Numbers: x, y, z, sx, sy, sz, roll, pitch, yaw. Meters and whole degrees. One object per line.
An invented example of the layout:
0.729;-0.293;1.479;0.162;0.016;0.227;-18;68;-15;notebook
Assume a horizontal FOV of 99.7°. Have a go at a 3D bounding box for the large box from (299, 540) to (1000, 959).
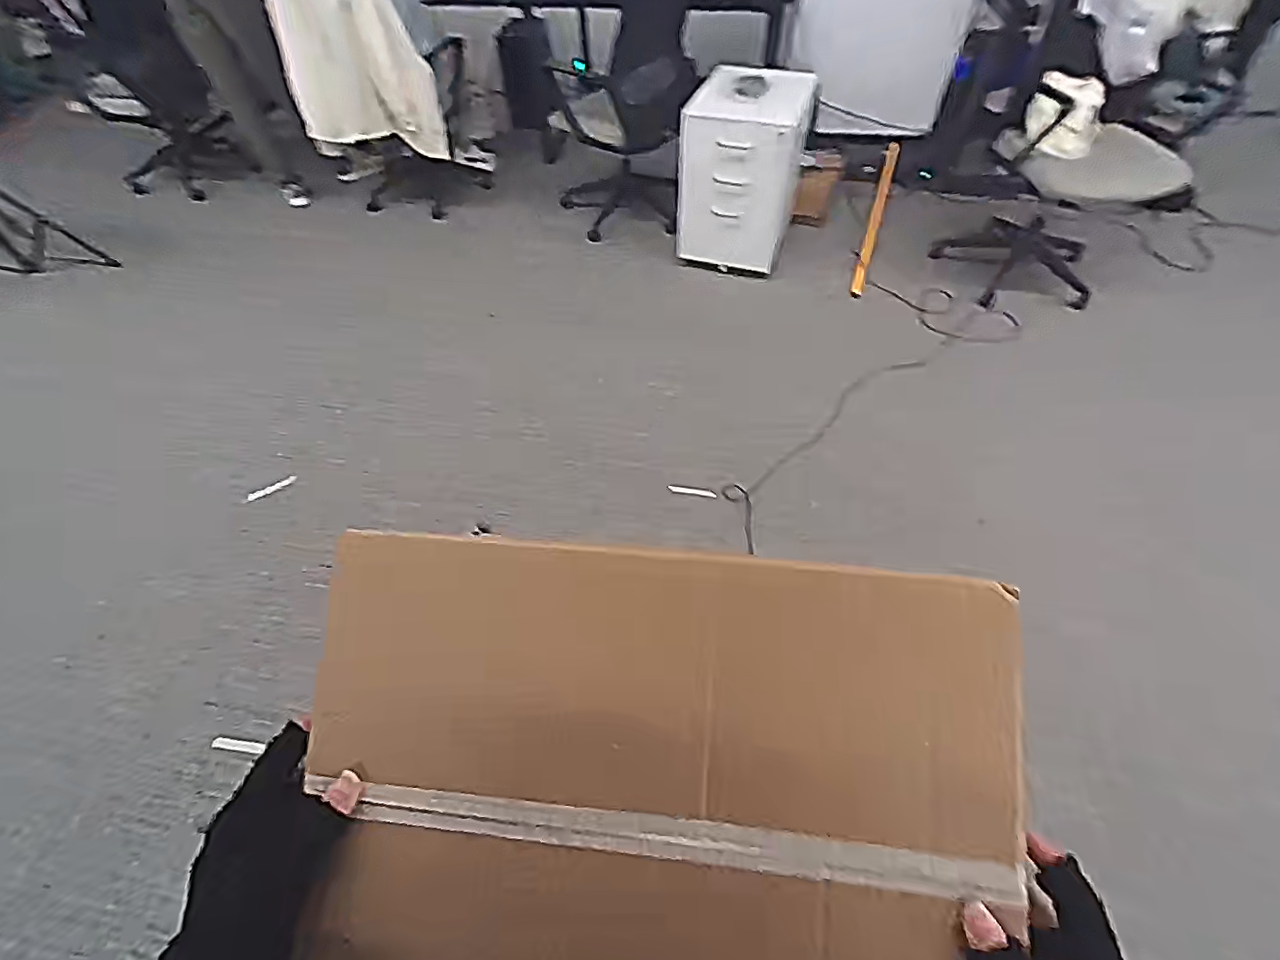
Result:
0.012;0.223;0.464;0.408;0.320;0.320;4;83;6;large box
